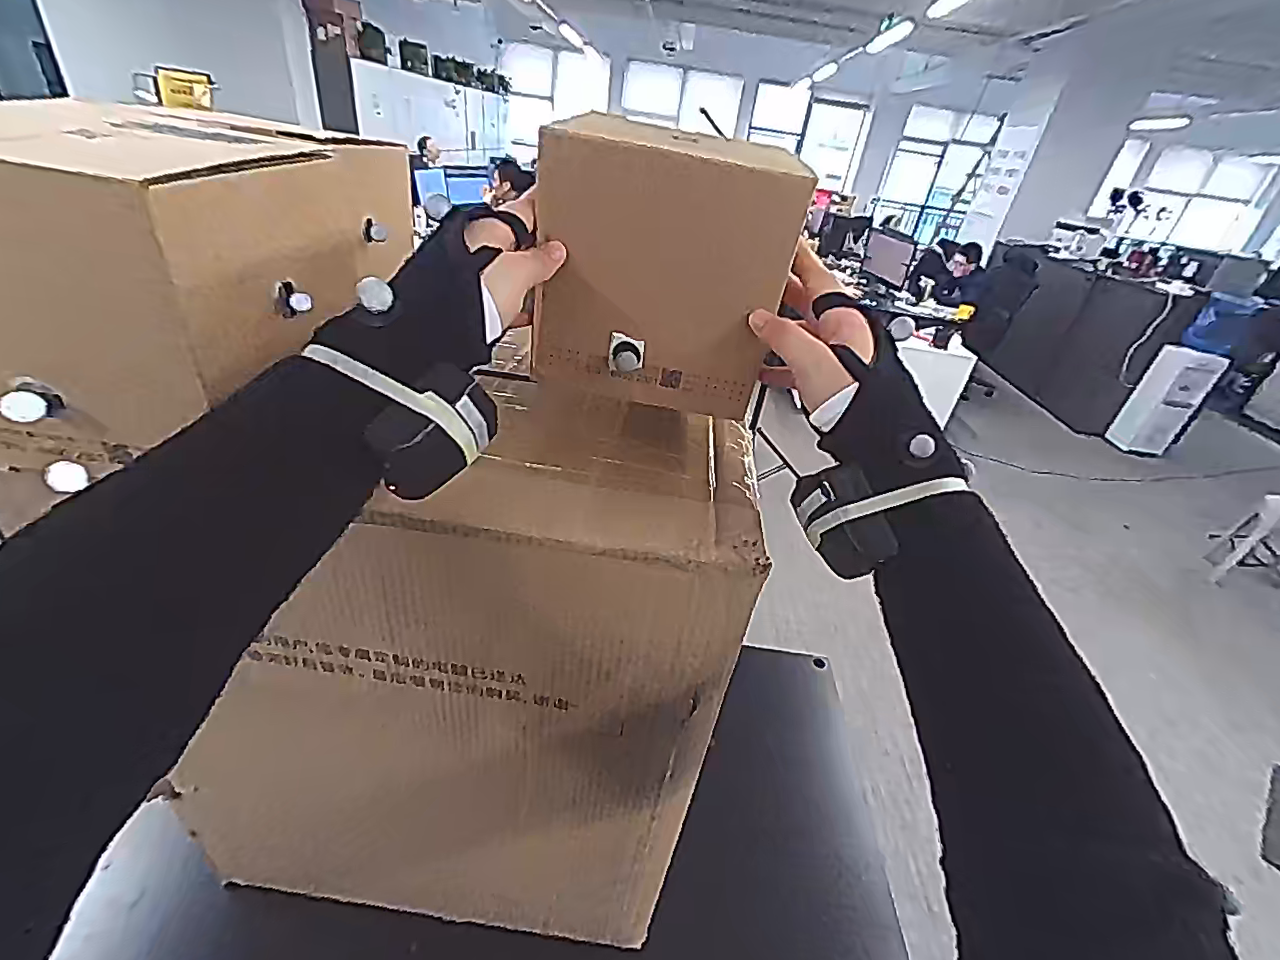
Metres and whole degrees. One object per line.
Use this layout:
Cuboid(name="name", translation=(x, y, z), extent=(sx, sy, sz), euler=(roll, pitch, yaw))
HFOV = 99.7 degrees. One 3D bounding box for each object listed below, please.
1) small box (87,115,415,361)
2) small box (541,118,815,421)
Cuboid(name="small box", translation=(-0.318, -0.220, 0.496), extent=(0.168, 0.176, 0.179), euler=(7, 31, -4))
Cuboid(name="small box", translation=(0.019, -0.170, 0.431), extent=(0.168, 0.176, 0.179), euler=(9, 37, -1))
